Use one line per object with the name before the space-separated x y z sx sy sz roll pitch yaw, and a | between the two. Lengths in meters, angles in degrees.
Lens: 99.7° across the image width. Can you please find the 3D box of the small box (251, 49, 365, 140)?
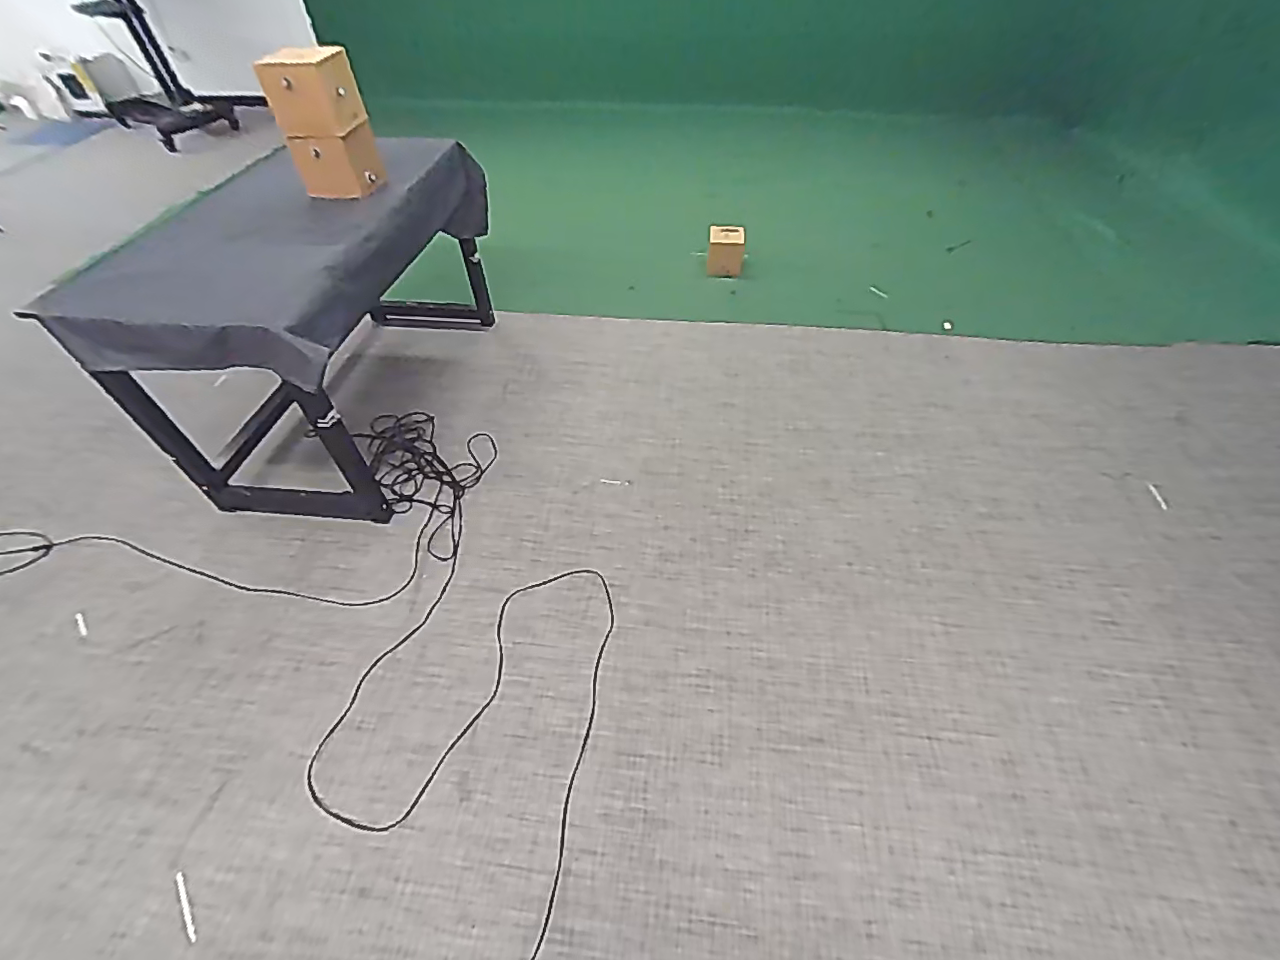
small box | -0.888 -1.046 1.471 0.179 0.176 0.168 3 50 6

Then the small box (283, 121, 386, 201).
small box | -0.892 -0.943 1.597 0.179 0.176 0.168 5 50 5
